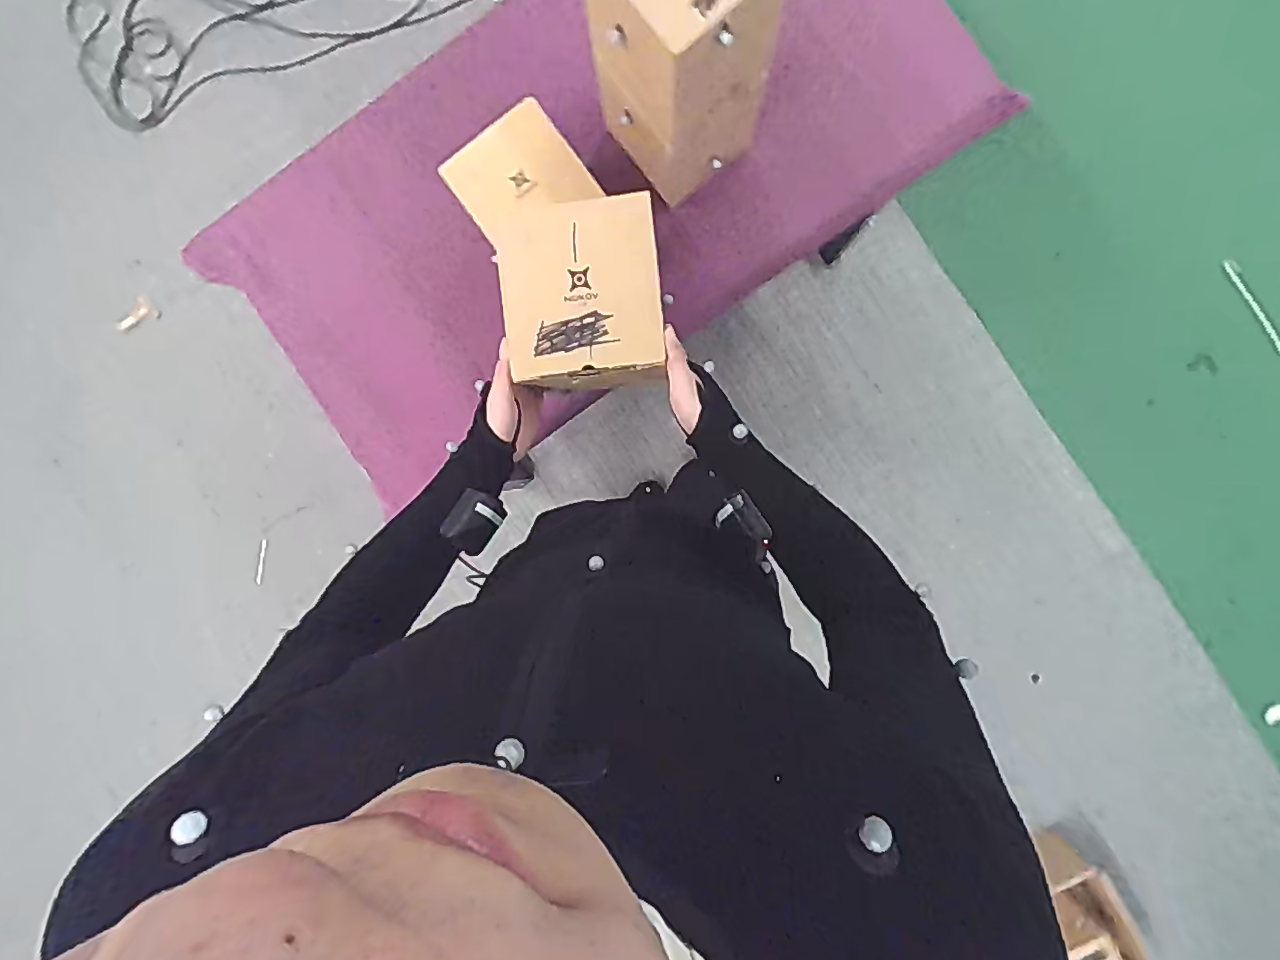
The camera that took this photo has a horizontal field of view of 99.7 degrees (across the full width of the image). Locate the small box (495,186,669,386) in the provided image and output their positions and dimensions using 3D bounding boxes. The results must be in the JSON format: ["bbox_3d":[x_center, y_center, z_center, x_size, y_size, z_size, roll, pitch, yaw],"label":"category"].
[{"bbox_3d":[-0.054,-0.205,0.625,0.168,0.176,0.179,-5,93,3],"label":"small box"}]

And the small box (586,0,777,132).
[{"bbox_3d":[0.043,-0.565,0.631,0.168,0.176,0.179,-39,89,3],"label":"small box"}]

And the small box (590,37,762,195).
[{"bbox_3d":[0.049,-0.569,0.795,0.168,0.176,0.179,-38,90,3],"label":"small box"}]

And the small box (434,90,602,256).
[{"bbox_3d":[-0.165,-0.413,0.810,0.168,0.176,0.179,-37,91,2],"label":"small box"}]
